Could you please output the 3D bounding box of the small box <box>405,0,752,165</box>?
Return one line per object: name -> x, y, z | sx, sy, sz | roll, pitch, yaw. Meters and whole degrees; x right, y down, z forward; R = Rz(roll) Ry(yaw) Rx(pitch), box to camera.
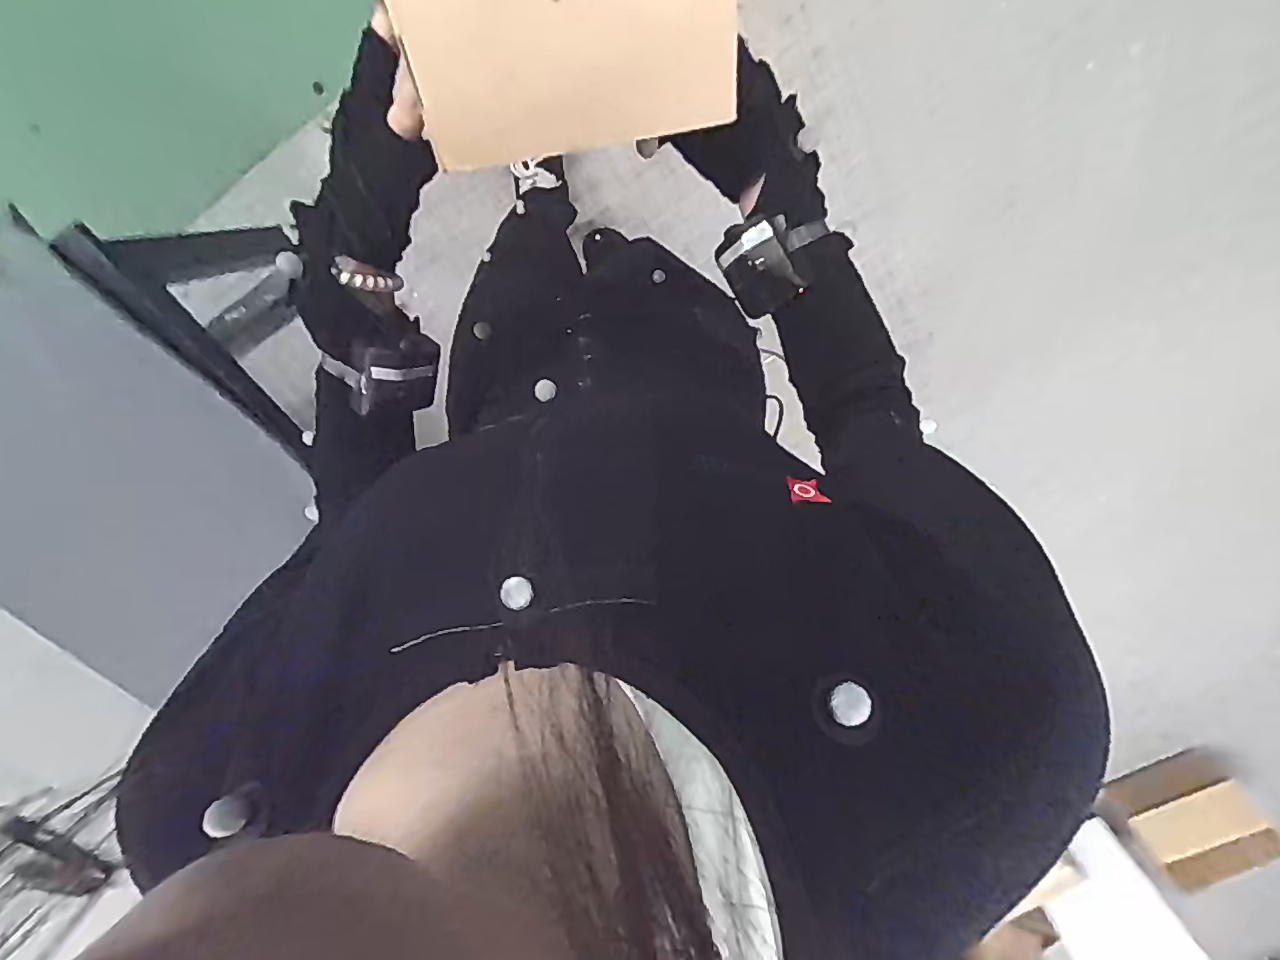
small box -> -0.048, -0.302, 0.314 | 0.179, 0.176, 0.168 | -14, 131, -8
